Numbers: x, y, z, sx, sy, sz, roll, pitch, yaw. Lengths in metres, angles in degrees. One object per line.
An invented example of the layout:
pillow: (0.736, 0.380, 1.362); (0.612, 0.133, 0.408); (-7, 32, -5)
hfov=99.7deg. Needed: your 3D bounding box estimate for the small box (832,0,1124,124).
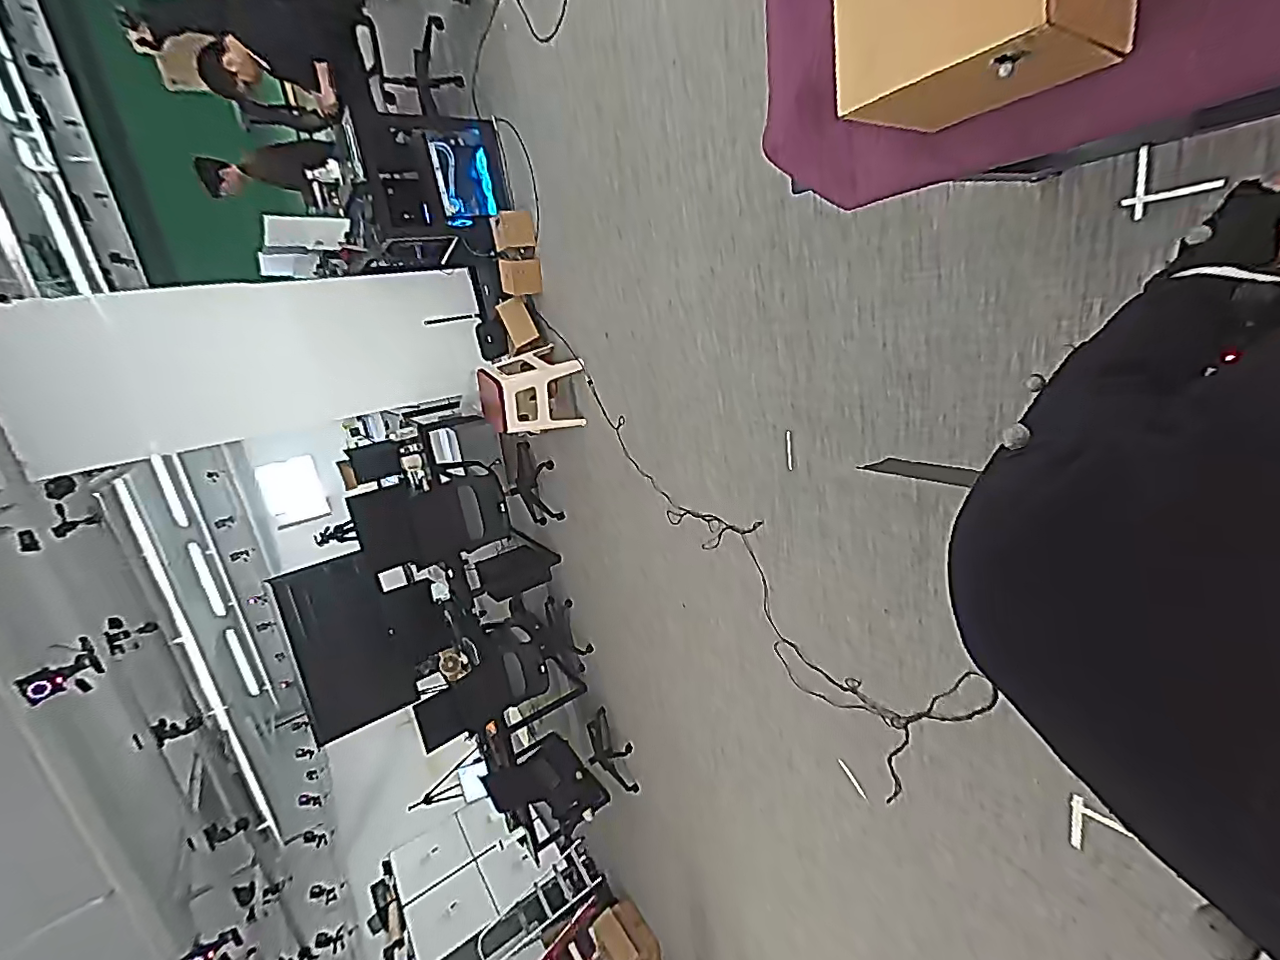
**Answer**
small box: (0.294, -0.441, 0.479); (0.179, 0.176, 0.168); (14, 117, 54)
